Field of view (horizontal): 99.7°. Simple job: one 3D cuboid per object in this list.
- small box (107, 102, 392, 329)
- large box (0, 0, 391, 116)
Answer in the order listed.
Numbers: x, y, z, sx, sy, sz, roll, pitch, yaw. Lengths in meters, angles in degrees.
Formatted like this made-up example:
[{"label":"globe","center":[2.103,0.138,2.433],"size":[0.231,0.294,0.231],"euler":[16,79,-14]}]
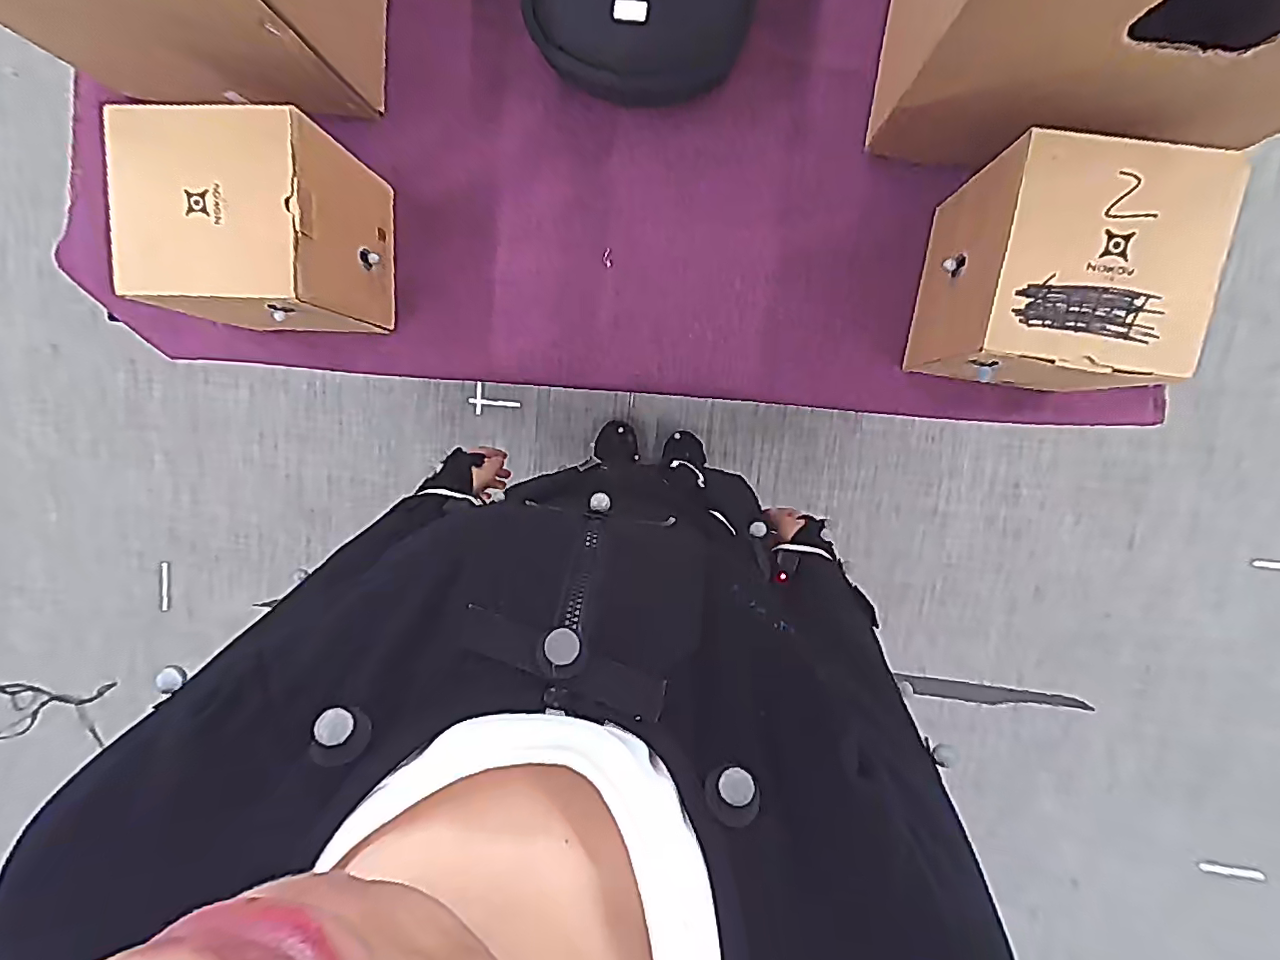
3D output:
[{"label":"small box","center":[-0.384,-0.255,0.560],"size":[0.179,0.176,0.168],"euler":[2,96,3]},{"label":"large box","center":[-0.428,-0.604,0.451],"size":[0.320,0.320,0.408],"euler":[5,99,2]}]
